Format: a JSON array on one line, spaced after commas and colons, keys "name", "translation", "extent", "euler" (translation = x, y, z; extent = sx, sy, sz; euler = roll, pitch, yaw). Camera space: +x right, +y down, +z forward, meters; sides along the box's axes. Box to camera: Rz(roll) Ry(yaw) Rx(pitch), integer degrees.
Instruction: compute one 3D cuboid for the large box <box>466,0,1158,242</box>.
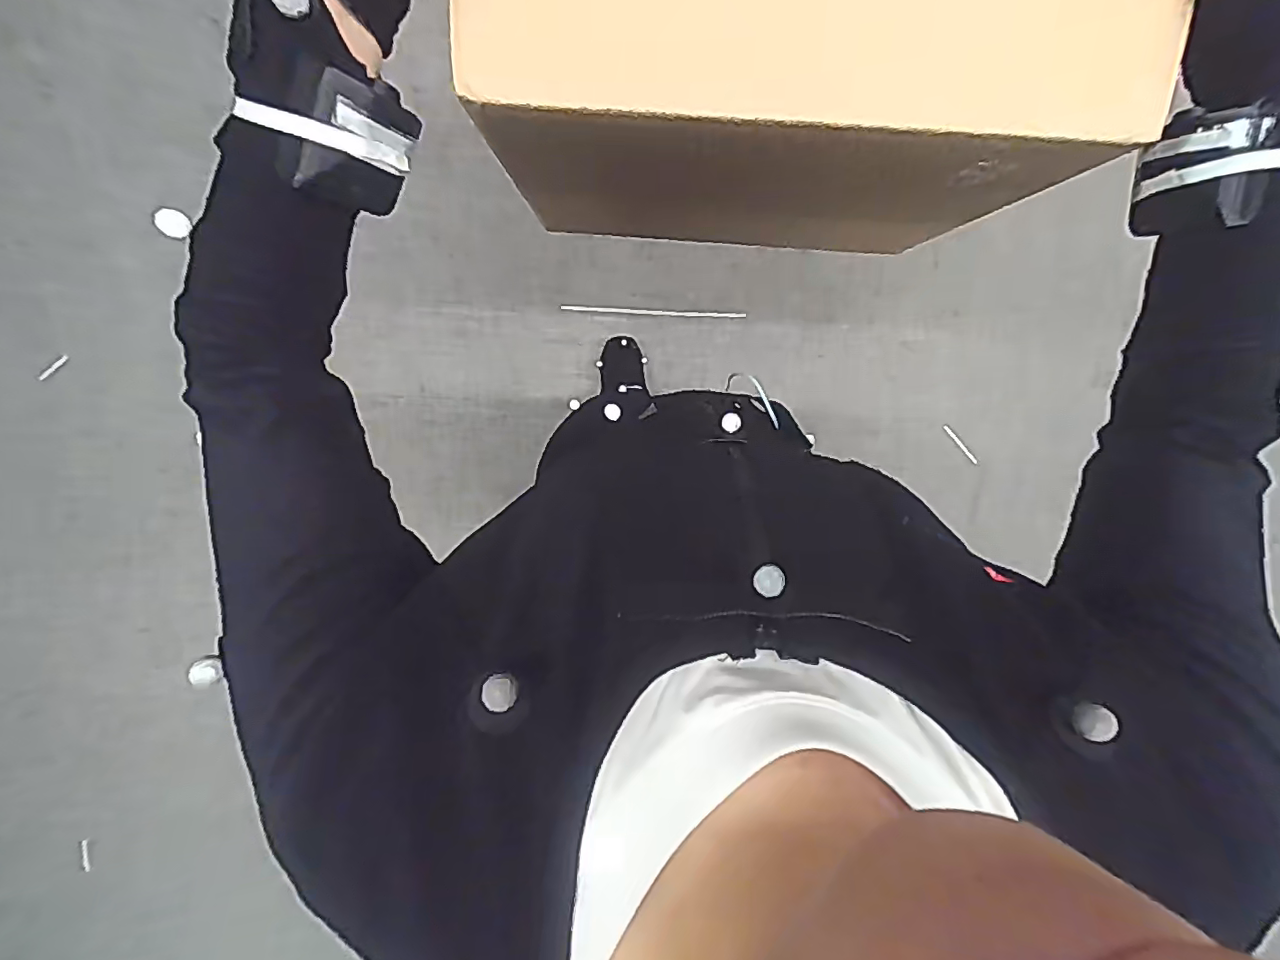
[{"name": "large box", "translation": [0.100, -0.395, 0.436], "extent": [0.408, 0.320, 0.320], "euler": [3, 102, -1]}]
